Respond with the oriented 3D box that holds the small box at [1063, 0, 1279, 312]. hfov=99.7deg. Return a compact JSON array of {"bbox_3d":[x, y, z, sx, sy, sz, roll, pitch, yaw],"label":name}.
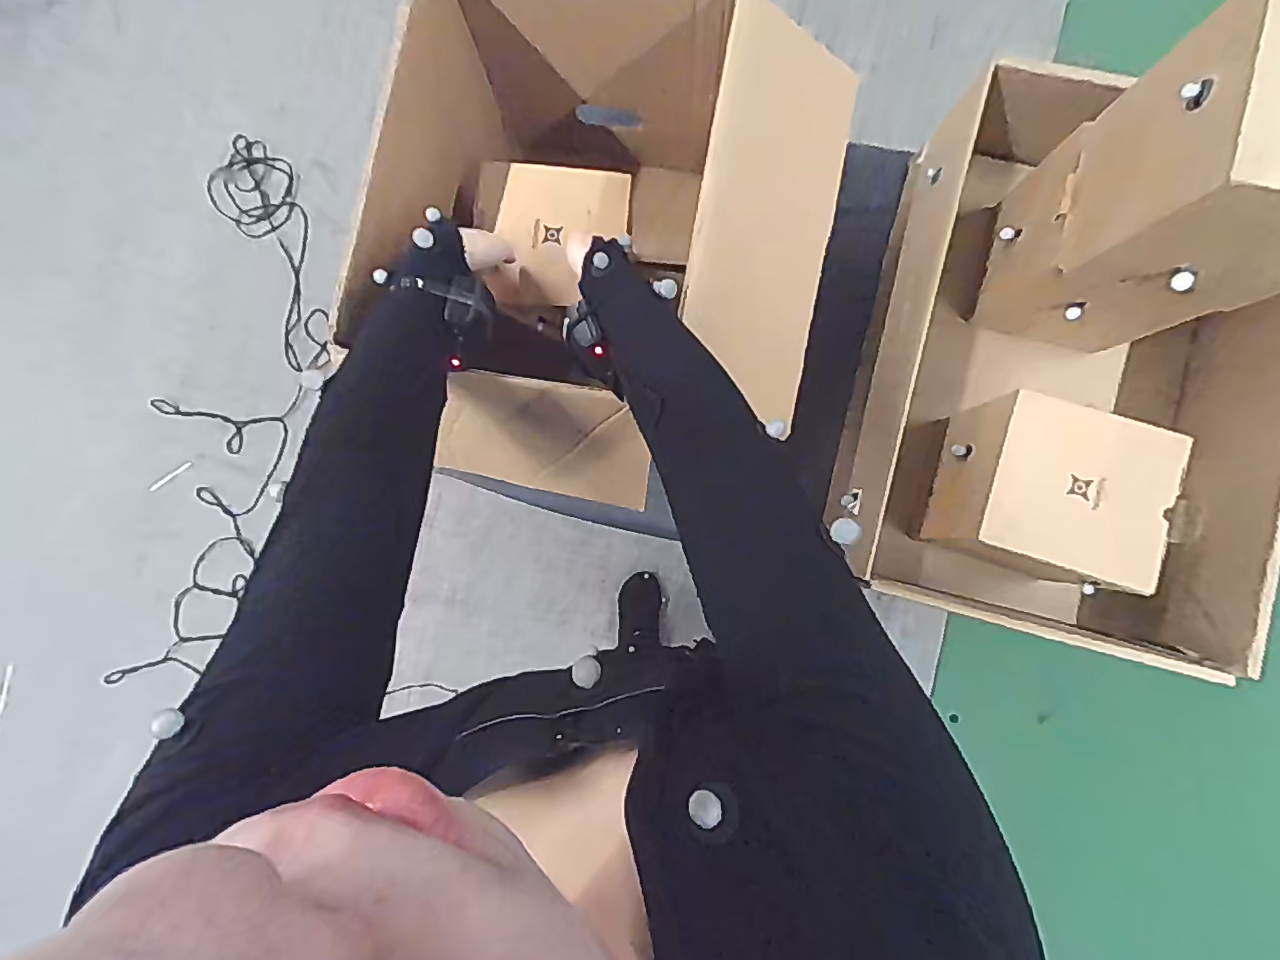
[{"bbox_3d":[0.524,-0.274,0.476,0.168,0.176,0.179,14,89,3],"label":"small box"}]
